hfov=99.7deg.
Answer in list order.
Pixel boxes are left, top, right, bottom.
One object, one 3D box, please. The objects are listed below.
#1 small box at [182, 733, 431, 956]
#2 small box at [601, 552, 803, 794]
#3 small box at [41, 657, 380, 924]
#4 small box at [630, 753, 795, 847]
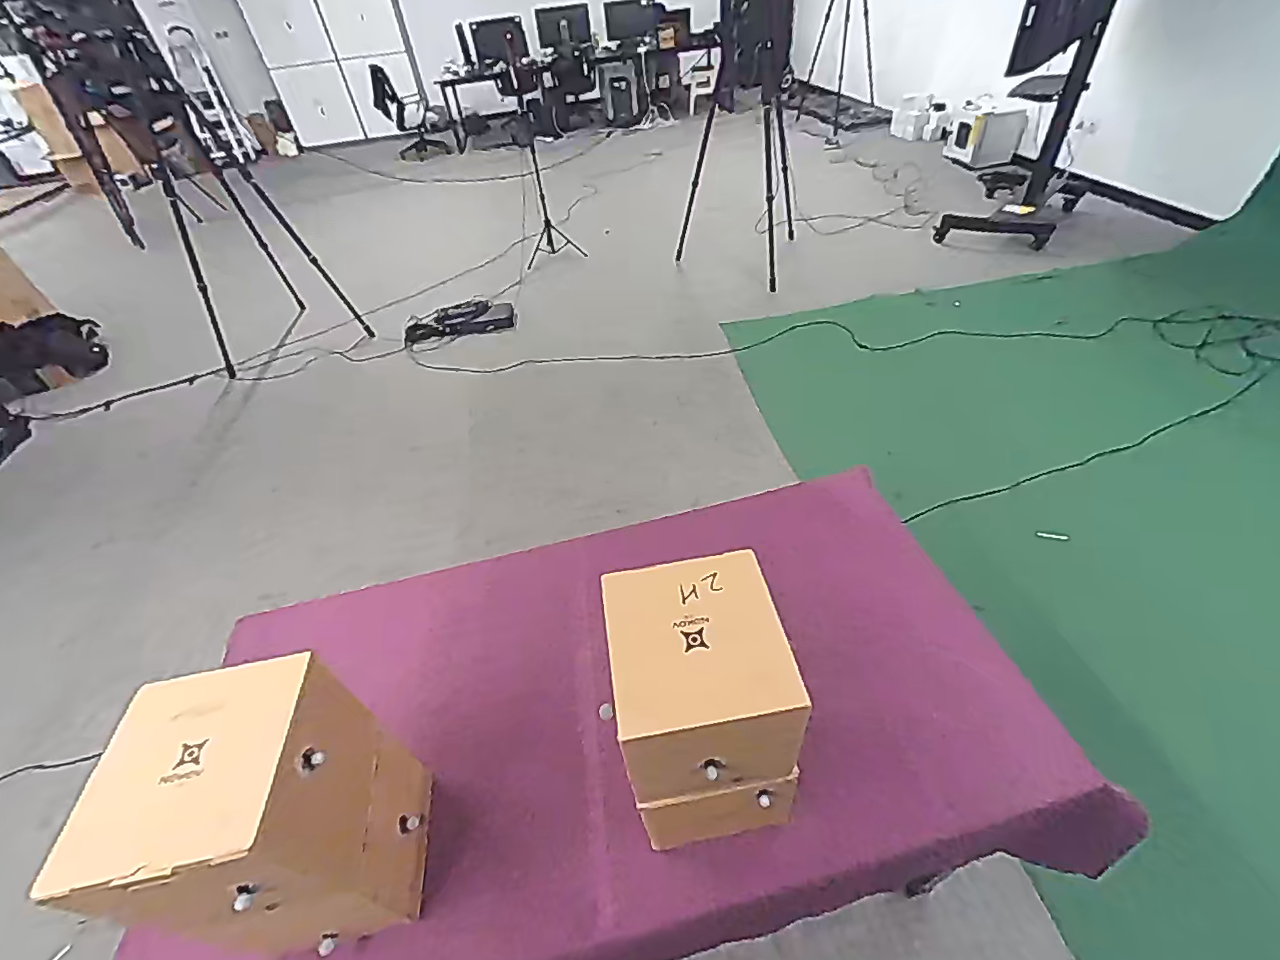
[{"bbox_3d":[-0.363,0.428,0.637,0.179,0.176,0.168,-11,43,-4],"label":"small box"},{"bbox_3d":[0.058,0.206,0.565,0.168,0.176,0.179,-9,43,-2],"label":"small box"},{"bbox_3d":[-0.381,0.306,0.529,0.168,0.176,0.179,-10,42,-3],"label":"small box"},{"bbox_3d":[0.077,0.329,0.673,0.179,0.176,0.168,-11,43,-3],"label":"small box"}]
